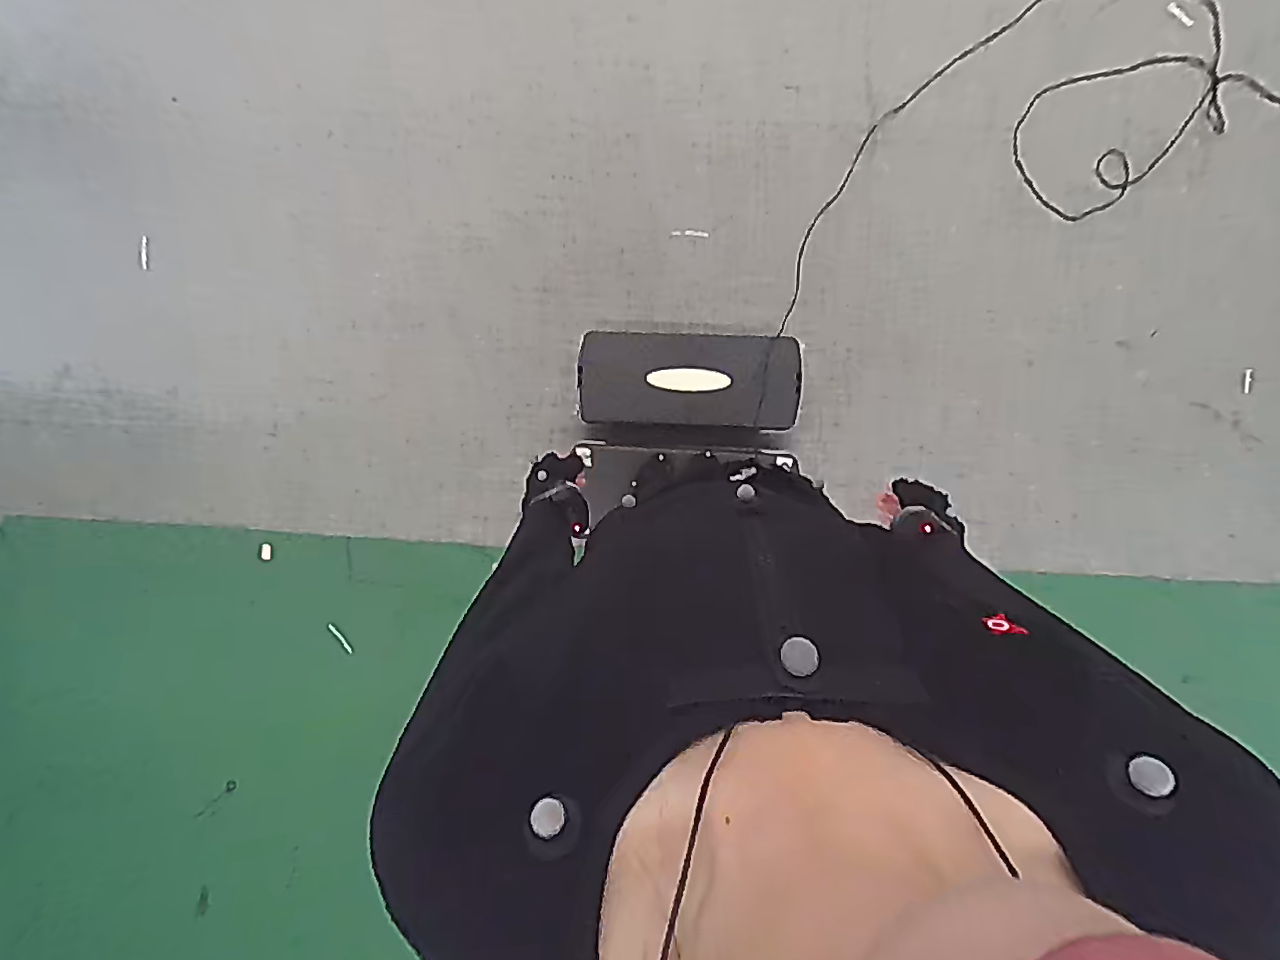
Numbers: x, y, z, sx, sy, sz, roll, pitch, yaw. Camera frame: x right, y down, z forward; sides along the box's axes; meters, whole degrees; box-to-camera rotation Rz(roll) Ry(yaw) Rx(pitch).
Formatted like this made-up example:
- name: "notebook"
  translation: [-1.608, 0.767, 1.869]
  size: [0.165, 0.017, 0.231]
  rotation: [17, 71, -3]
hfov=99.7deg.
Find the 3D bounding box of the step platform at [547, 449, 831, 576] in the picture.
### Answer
- name: "step platform"
  translation: [0.118, 0.073, 1.388]
  size: [0.684, 0.204, 0.286]
  rotation: [2, 92, 1]
